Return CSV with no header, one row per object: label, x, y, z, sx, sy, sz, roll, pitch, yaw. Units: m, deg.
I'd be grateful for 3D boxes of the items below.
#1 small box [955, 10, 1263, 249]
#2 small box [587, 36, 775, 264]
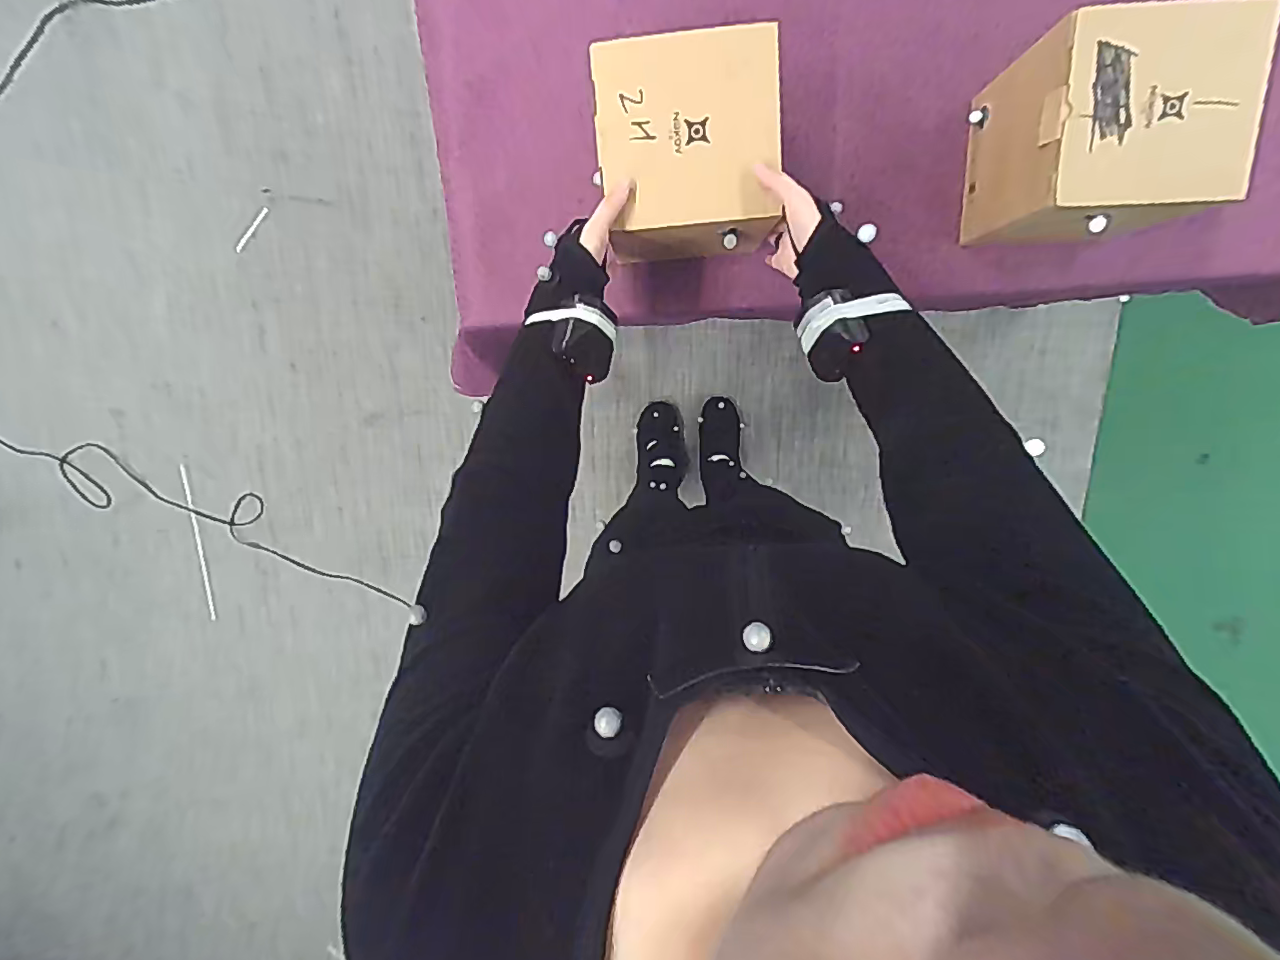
small box,0.466,-0.349,0.573,0.179,0.176,0.168,-1,102,2
small box,0.043,-0.342,0.594,0.179,0.176,0.168,-3,102,3
